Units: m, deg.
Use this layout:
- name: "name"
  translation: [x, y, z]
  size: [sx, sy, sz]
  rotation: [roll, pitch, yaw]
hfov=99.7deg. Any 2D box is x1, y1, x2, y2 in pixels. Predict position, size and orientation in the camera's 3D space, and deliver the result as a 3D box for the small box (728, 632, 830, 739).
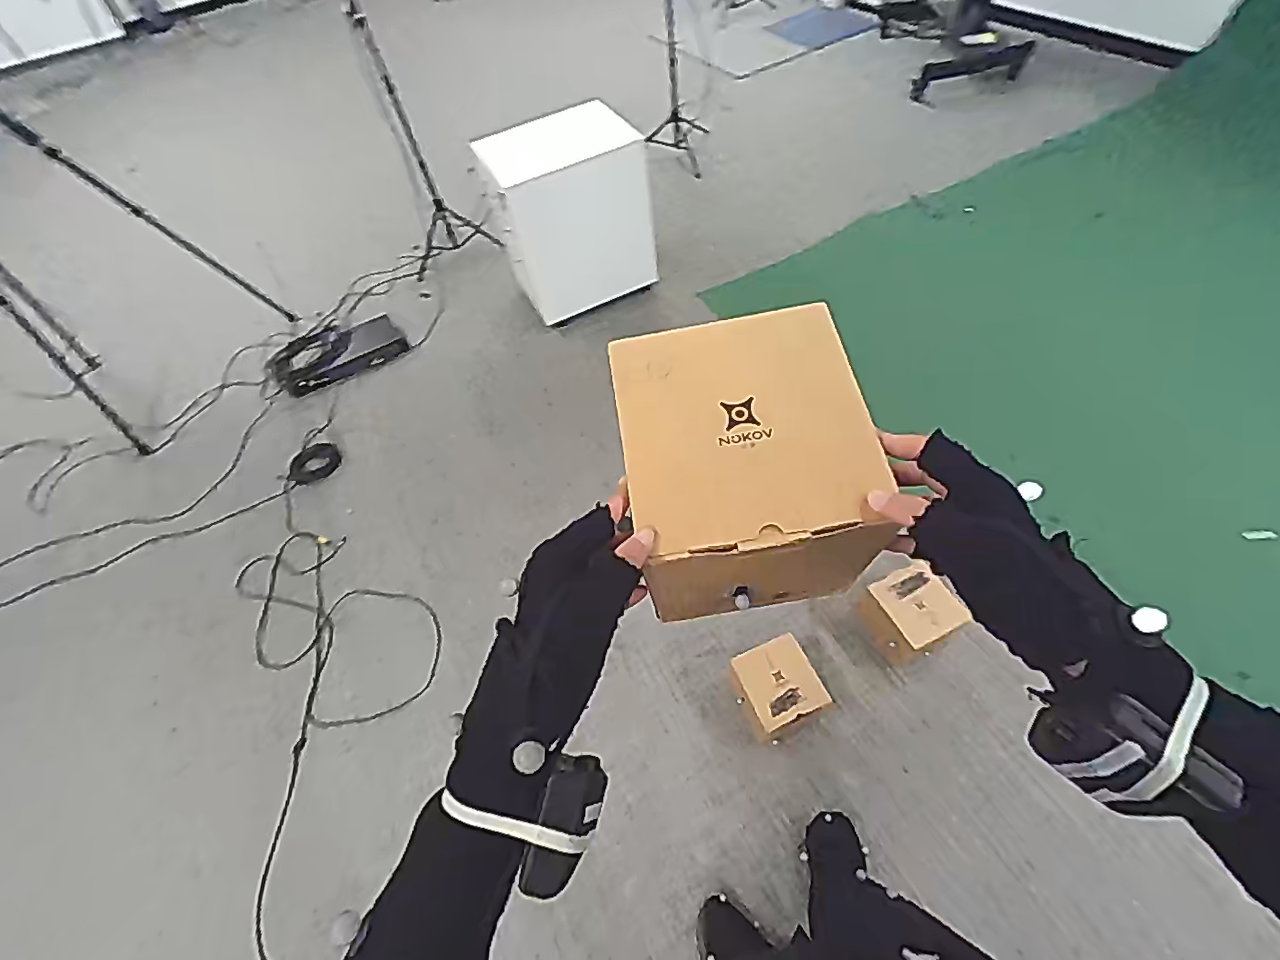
- name: "small box"
  translation: [0.321, 0.494, 1.281]
  size: [0.168, 0.176, 0.179]
  rotation: [-22, 55, -8]
